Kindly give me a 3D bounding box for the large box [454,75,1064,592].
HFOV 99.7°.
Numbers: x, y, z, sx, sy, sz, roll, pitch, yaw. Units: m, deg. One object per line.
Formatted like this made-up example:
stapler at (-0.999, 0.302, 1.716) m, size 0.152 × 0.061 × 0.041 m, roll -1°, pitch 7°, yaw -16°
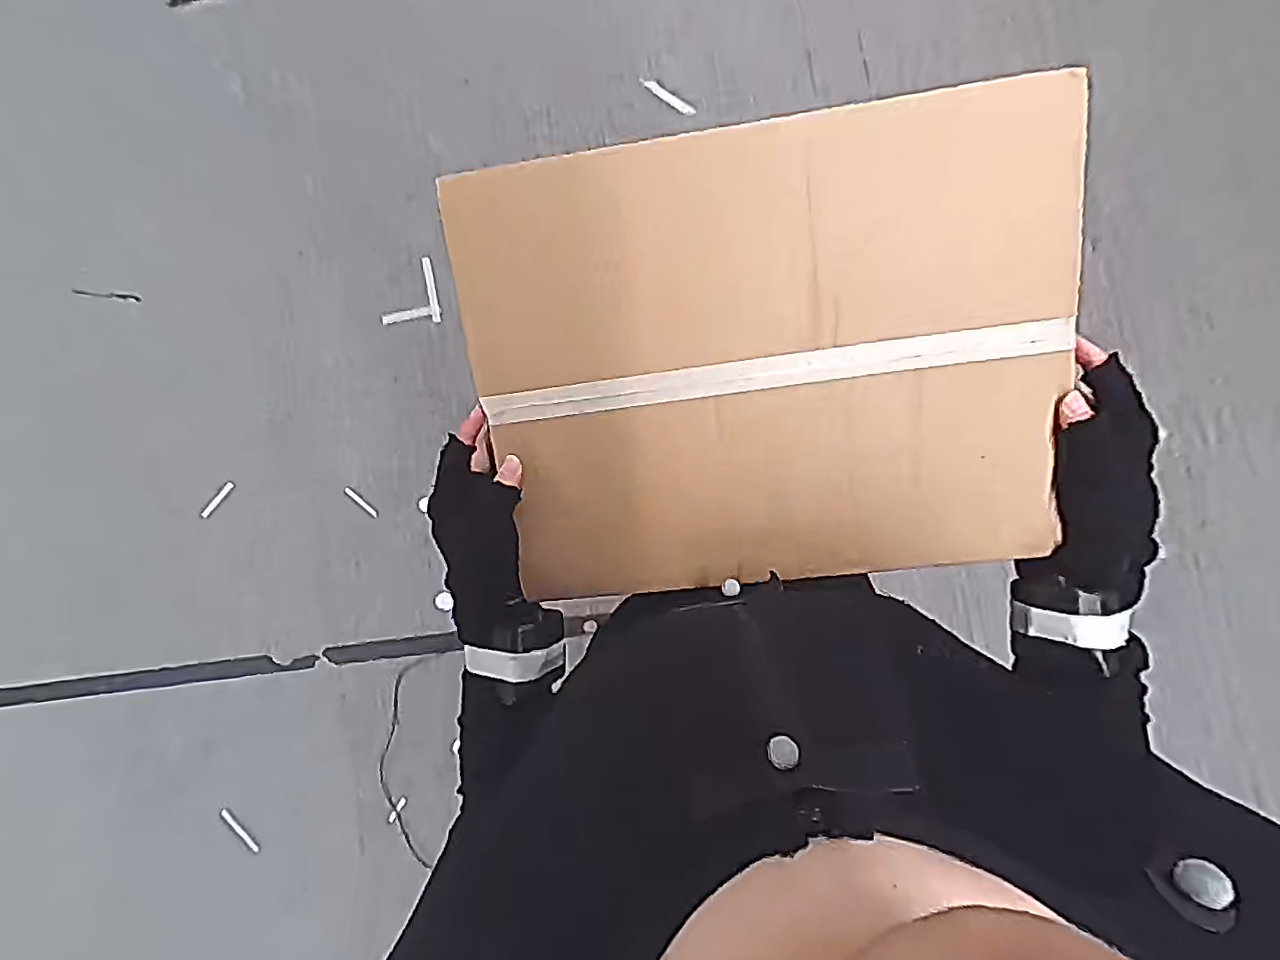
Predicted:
large box at (0.095, -0.114, 0.530) m, size 0.408 × 0.320 × 0.320 m, roll -6°, pitch 104°, yaw 6°
